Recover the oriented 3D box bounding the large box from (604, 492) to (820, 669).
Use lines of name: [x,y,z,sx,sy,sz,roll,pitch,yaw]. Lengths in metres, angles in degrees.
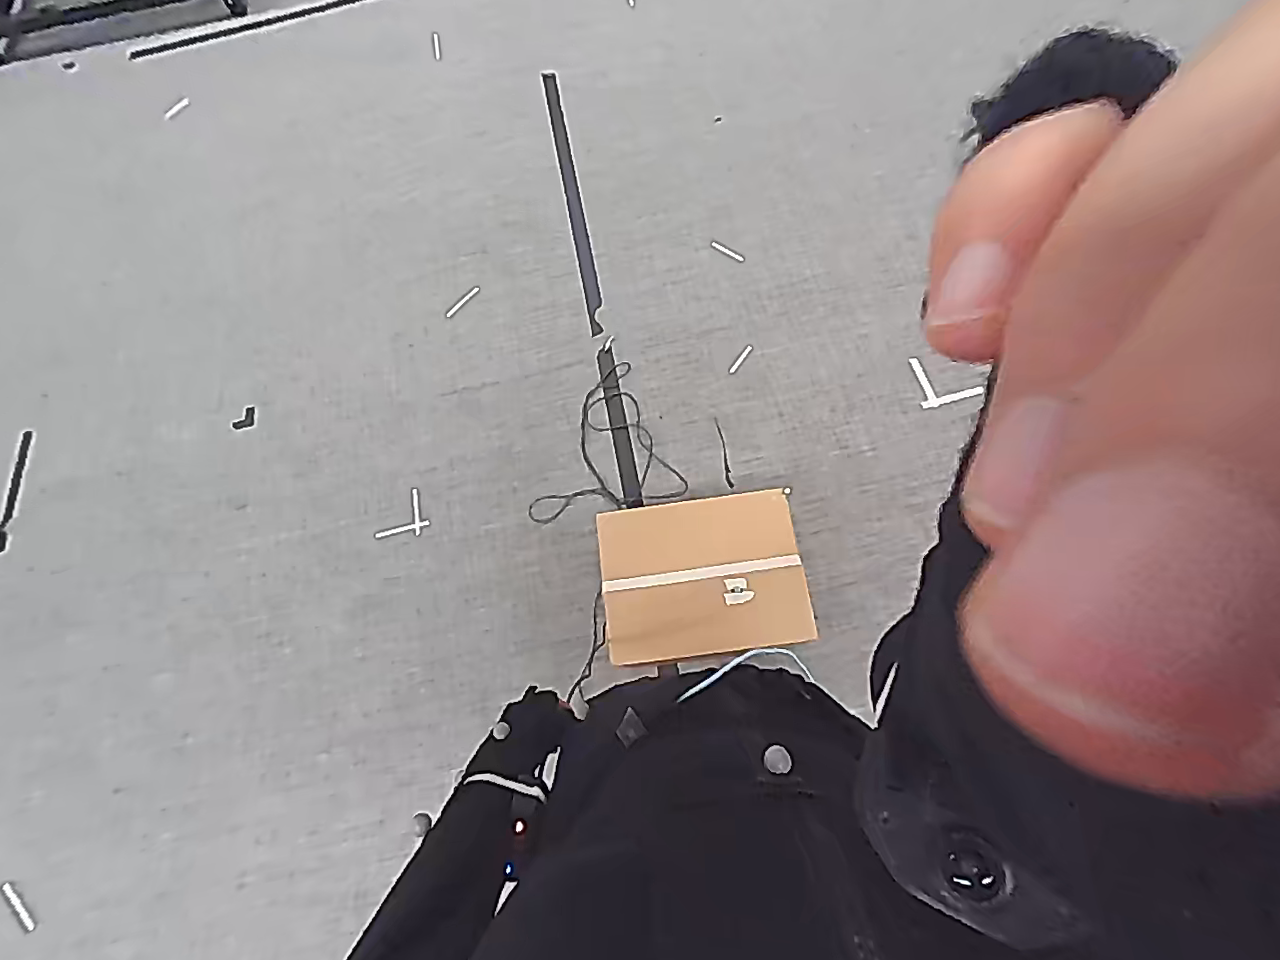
large box: [0.147,0.247,1.244,0.408,0.320,0.320,-7,70,2]
